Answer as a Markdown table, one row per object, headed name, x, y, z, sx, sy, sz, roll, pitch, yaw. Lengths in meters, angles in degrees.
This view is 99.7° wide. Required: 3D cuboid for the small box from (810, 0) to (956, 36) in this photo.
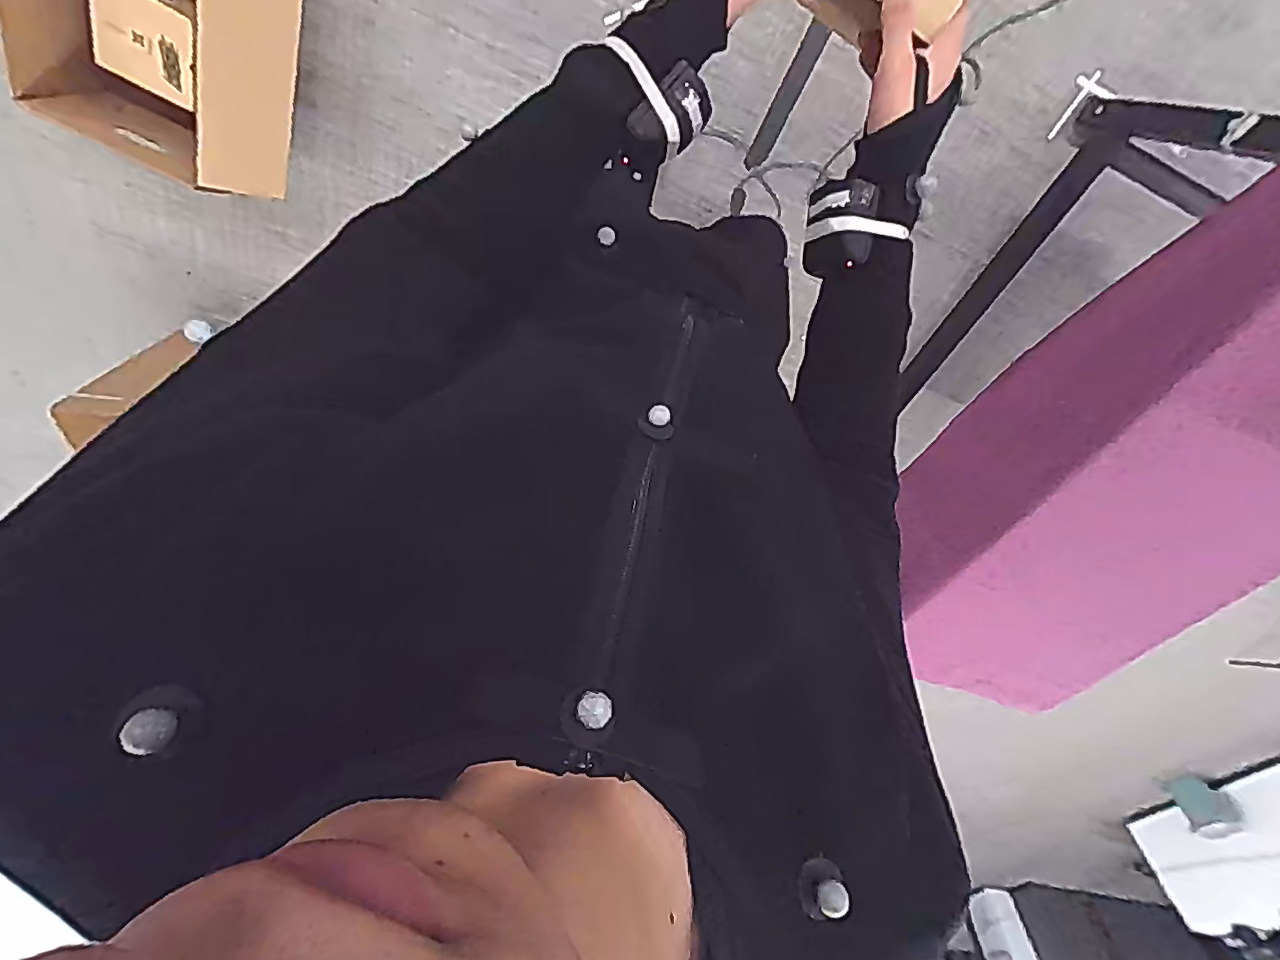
| name | x | y | z | sx | sy | sz | roll | pitch | yaw |
| --- | --- | --- | --- | --- | --- | --- | --- | --- | --- |
| small box | 0.184 | -0.470 | 0.403 | 0.179 | 0.176 | 0.168 | 25 | 124 | -15 |
